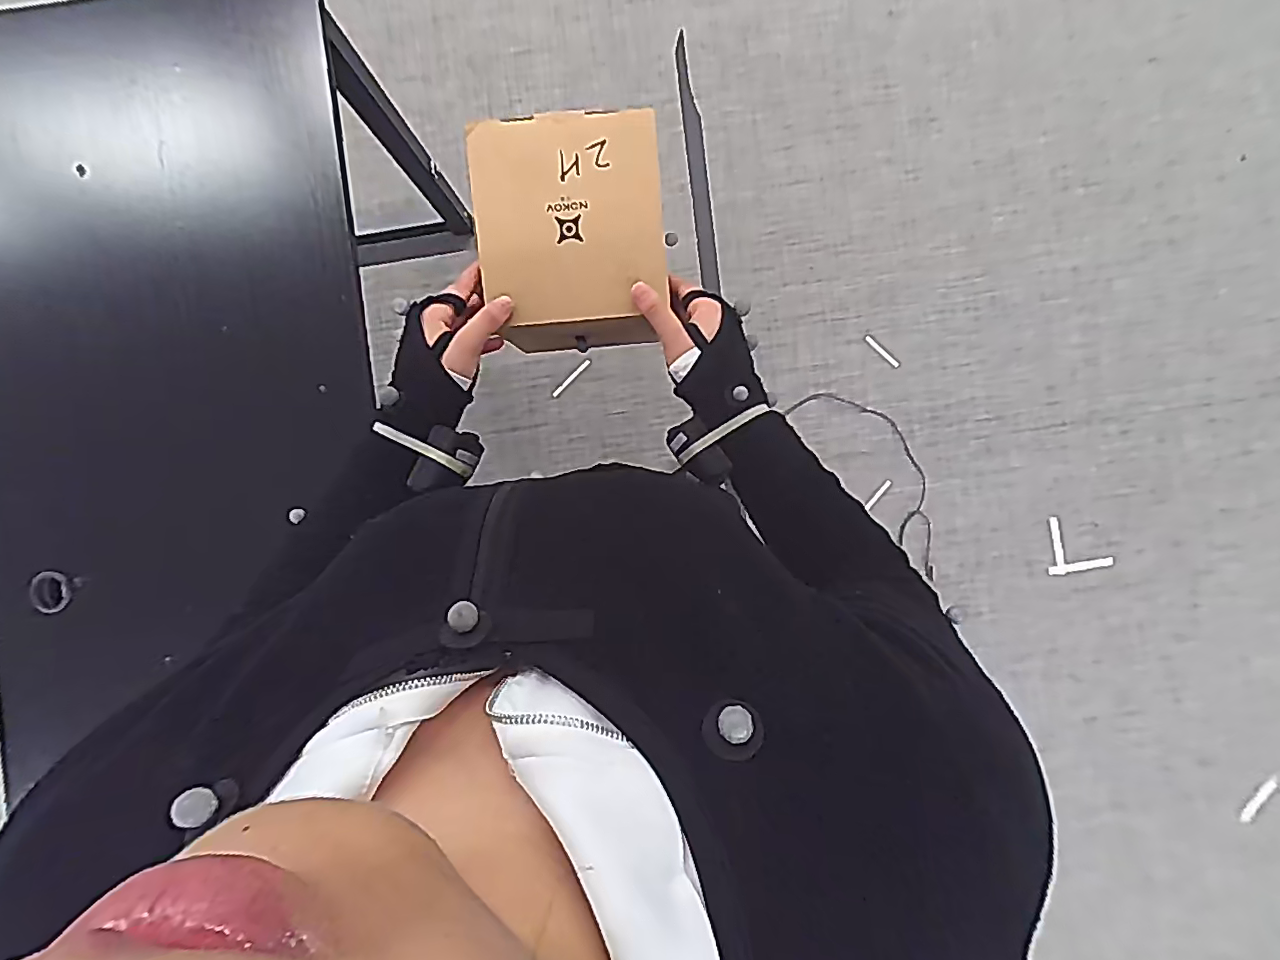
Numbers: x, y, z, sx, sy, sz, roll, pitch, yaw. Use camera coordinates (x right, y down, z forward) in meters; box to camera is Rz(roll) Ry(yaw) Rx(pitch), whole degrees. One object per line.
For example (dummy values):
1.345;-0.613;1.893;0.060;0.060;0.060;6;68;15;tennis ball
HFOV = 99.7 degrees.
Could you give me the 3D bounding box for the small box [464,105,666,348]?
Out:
-0.062;-0.235;0.550;0.168;0.176;0.179;-6;95;0;small box
